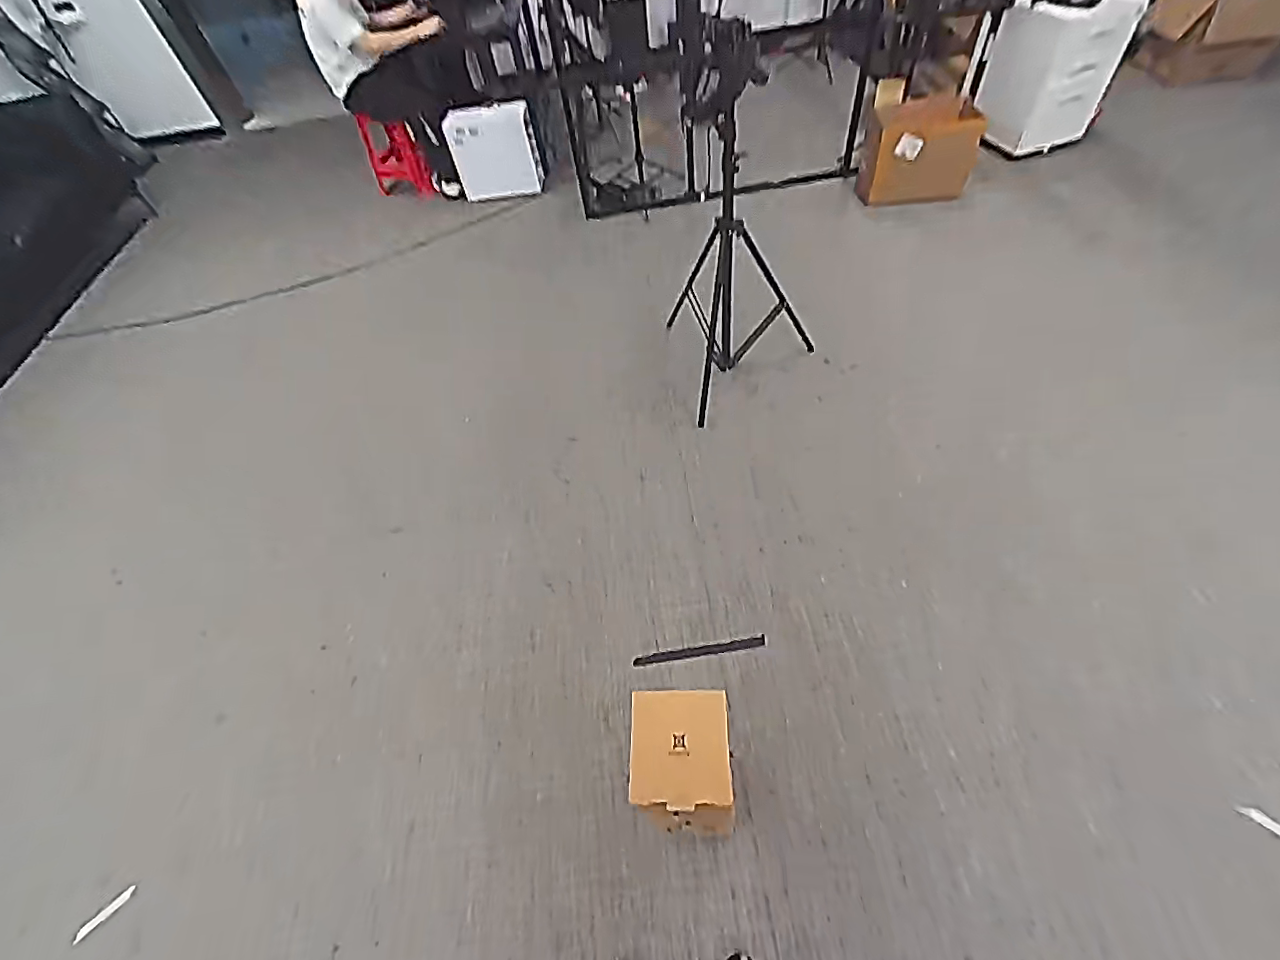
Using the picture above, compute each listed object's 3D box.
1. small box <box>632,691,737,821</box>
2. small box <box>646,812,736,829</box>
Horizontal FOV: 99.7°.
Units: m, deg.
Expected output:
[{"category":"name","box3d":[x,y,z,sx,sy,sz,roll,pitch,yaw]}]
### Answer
[{"category":"small box","box3d":[0.079,0.489,0.954,0.168,0.176,0.179,-4,52,6]},{"category":"small box","box3d":[0.103,0.588,1.080,0.168,0.176,0.179,-3,52,6]}]
